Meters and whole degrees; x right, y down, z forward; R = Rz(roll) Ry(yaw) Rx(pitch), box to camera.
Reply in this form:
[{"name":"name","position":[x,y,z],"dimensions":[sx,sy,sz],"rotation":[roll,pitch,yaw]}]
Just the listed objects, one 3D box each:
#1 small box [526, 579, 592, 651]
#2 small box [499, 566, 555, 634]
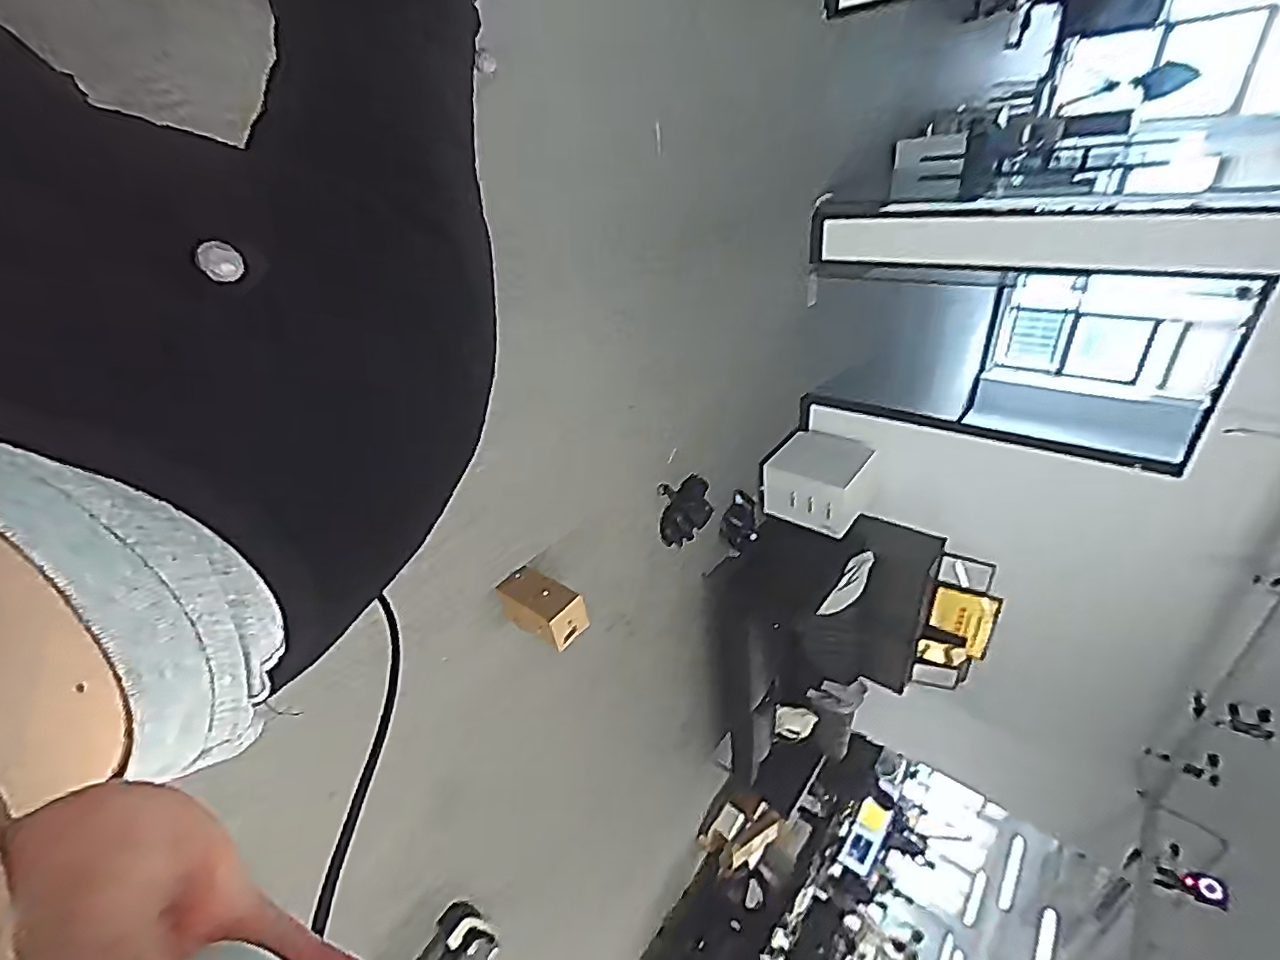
[{"name":"small box","position":[-0.311,0.514,2.080],"dimensions":[0.168,0.176,0.179],"rotation":[-40,133,-37]},{"name":"small box","position":[-0.438,0.477,2.179],"dimensions":[0.168,0.176,0.179],"rotation":[-39,132,-37]}]
